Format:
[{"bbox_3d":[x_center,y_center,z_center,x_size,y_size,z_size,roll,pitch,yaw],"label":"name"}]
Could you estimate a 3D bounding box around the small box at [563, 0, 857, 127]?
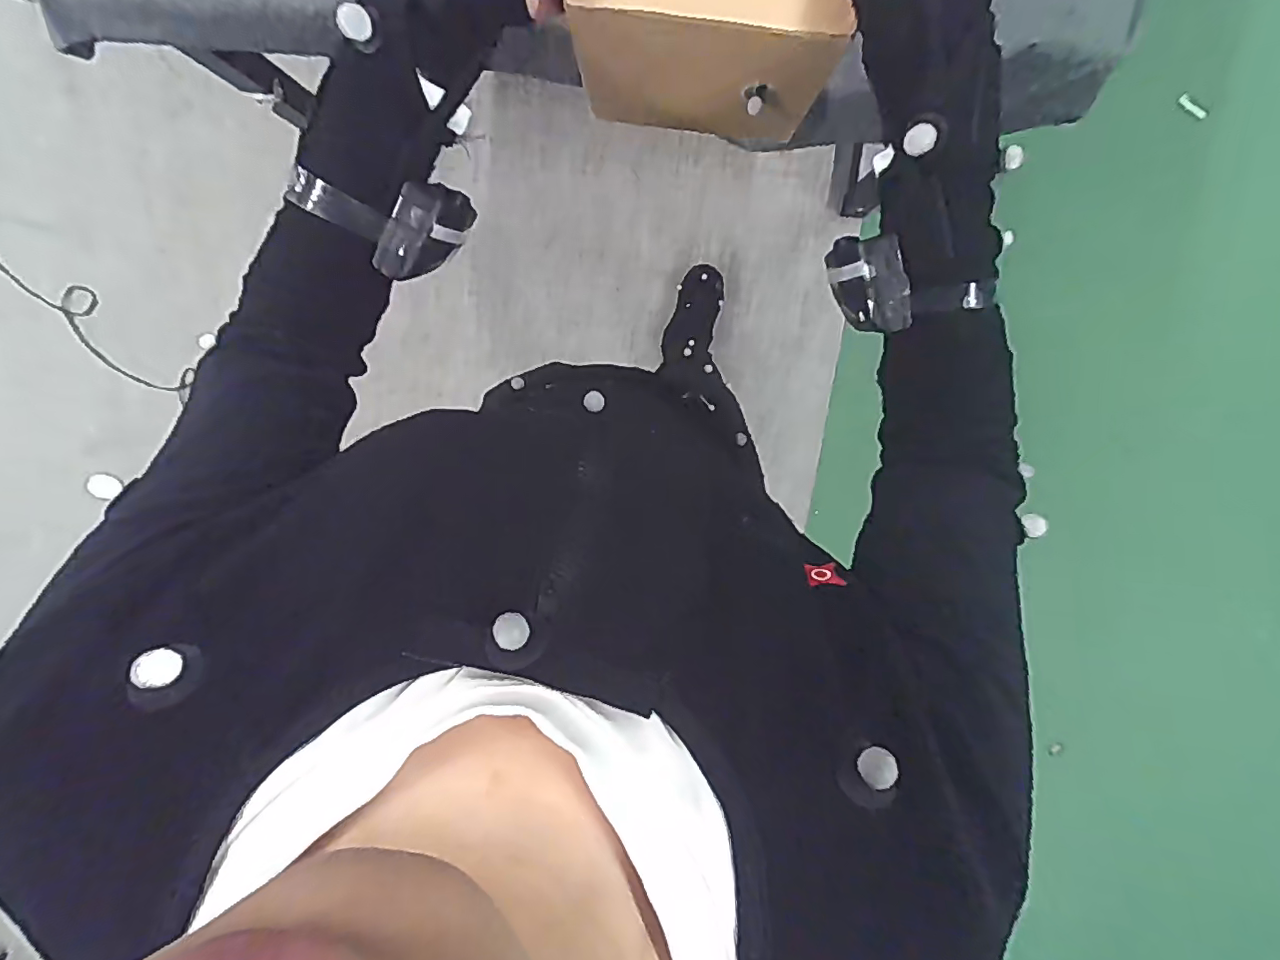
[{"bbox_3d":[0.050,-0.373,0.378,0.179,0.176,0.168,5,103,2],"label":"small box"}]
